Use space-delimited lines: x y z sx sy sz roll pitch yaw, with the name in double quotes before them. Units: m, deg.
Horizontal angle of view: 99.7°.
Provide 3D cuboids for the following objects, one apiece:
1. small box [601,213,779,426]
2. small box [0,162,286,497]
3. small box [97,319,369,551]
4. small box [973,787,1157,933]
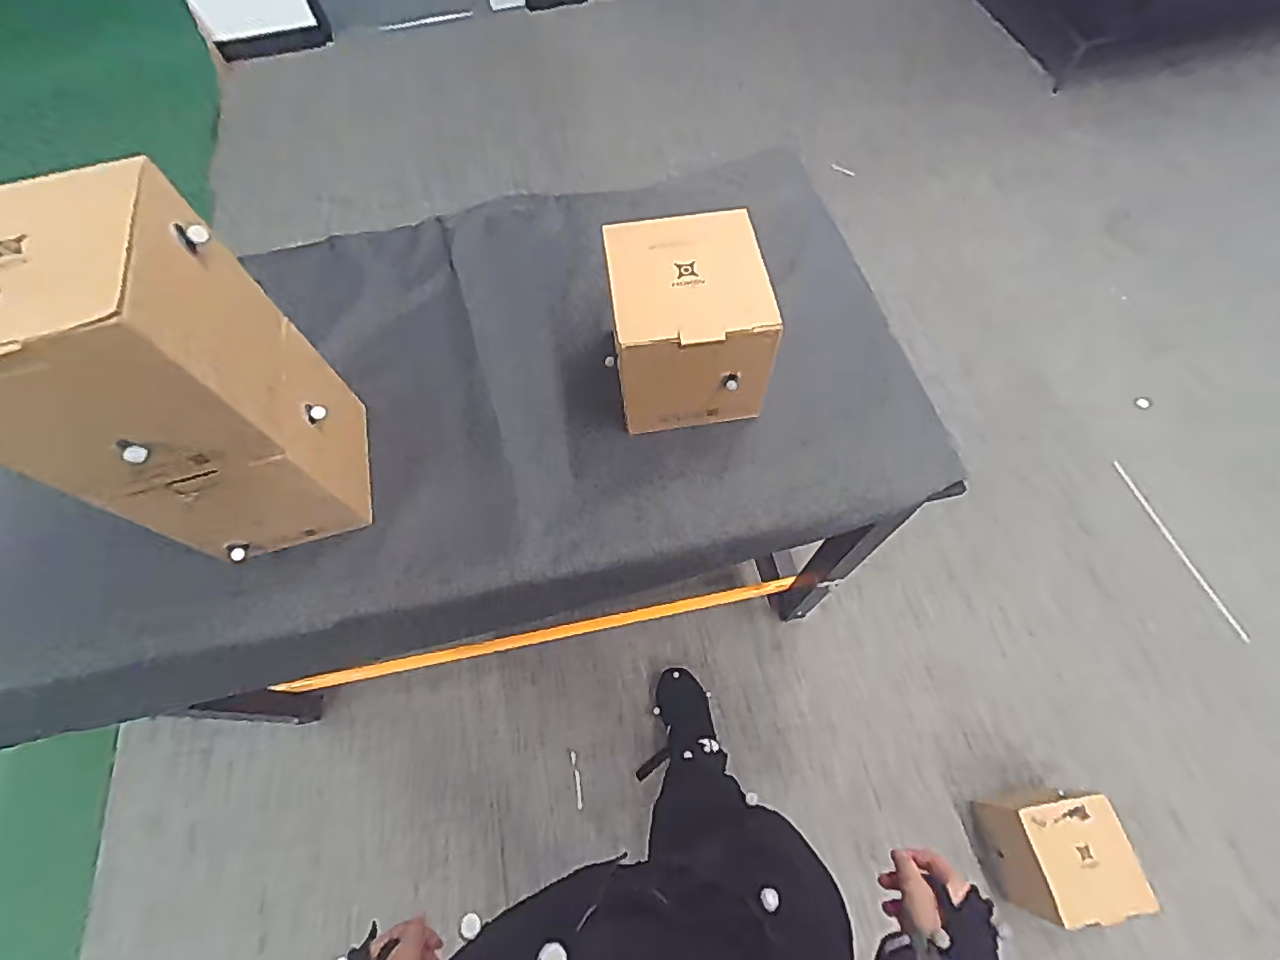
"small box" 0.050 -0.177 0.637 0.168 0.176 0.179 -8 63 -2
"small box" -0.420 -0.113 0.439 0.168 0.176 0.179 -17 64 -6
"small box" -0.414 -0.037 0.585 0.168 0.176 0.179 -15 63 -5
"small box" 0.758 0.681 0.989 0.168 0.176 0.179 -9 65 -2
